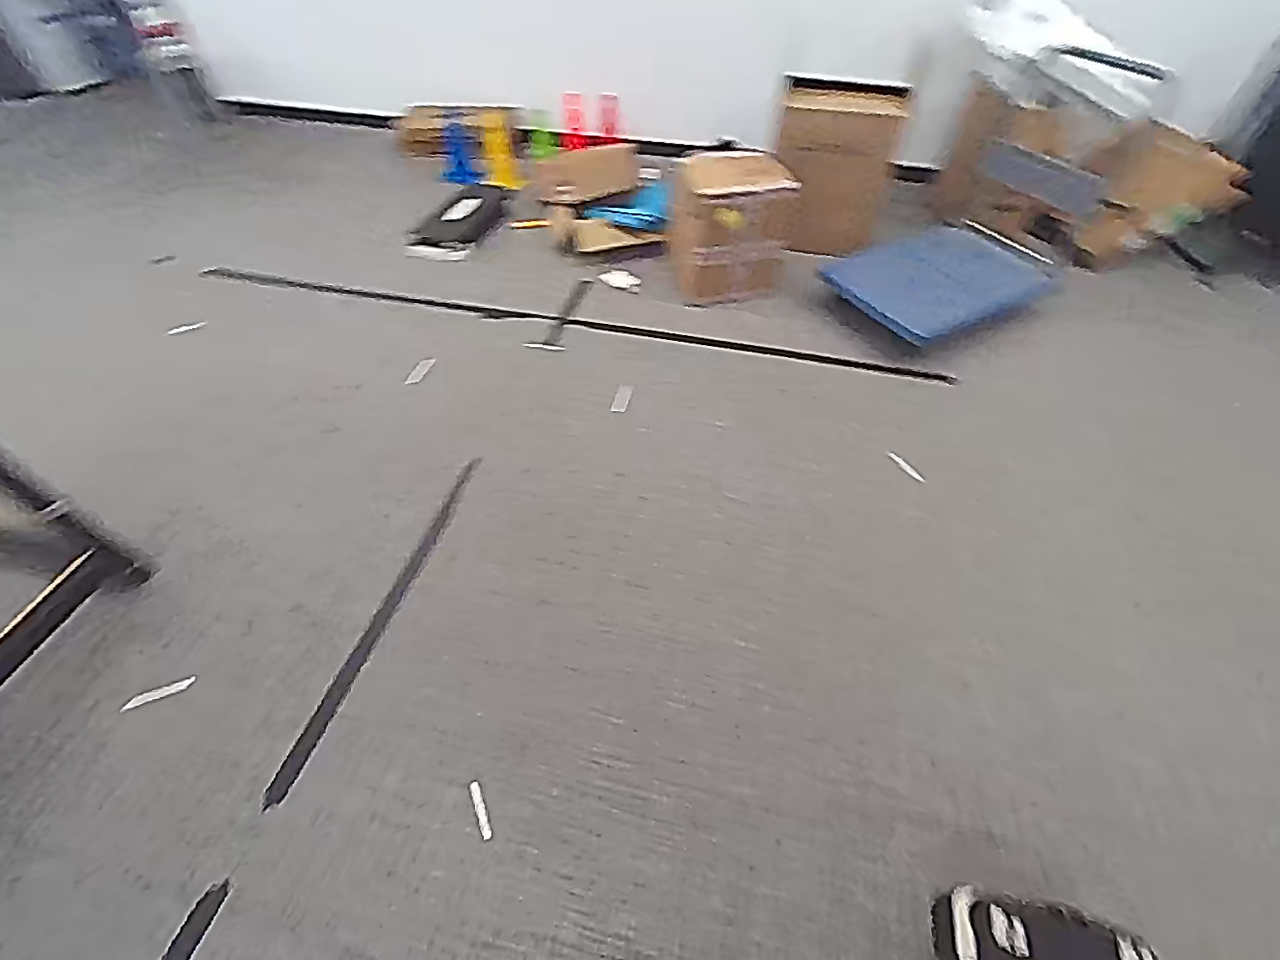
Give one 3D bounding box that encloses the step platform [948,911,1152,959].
[{"bbox_3d":[0.660,1.056,0.768,0.286,0.204,0.684,12,50,8],"label":"step platform"}]
